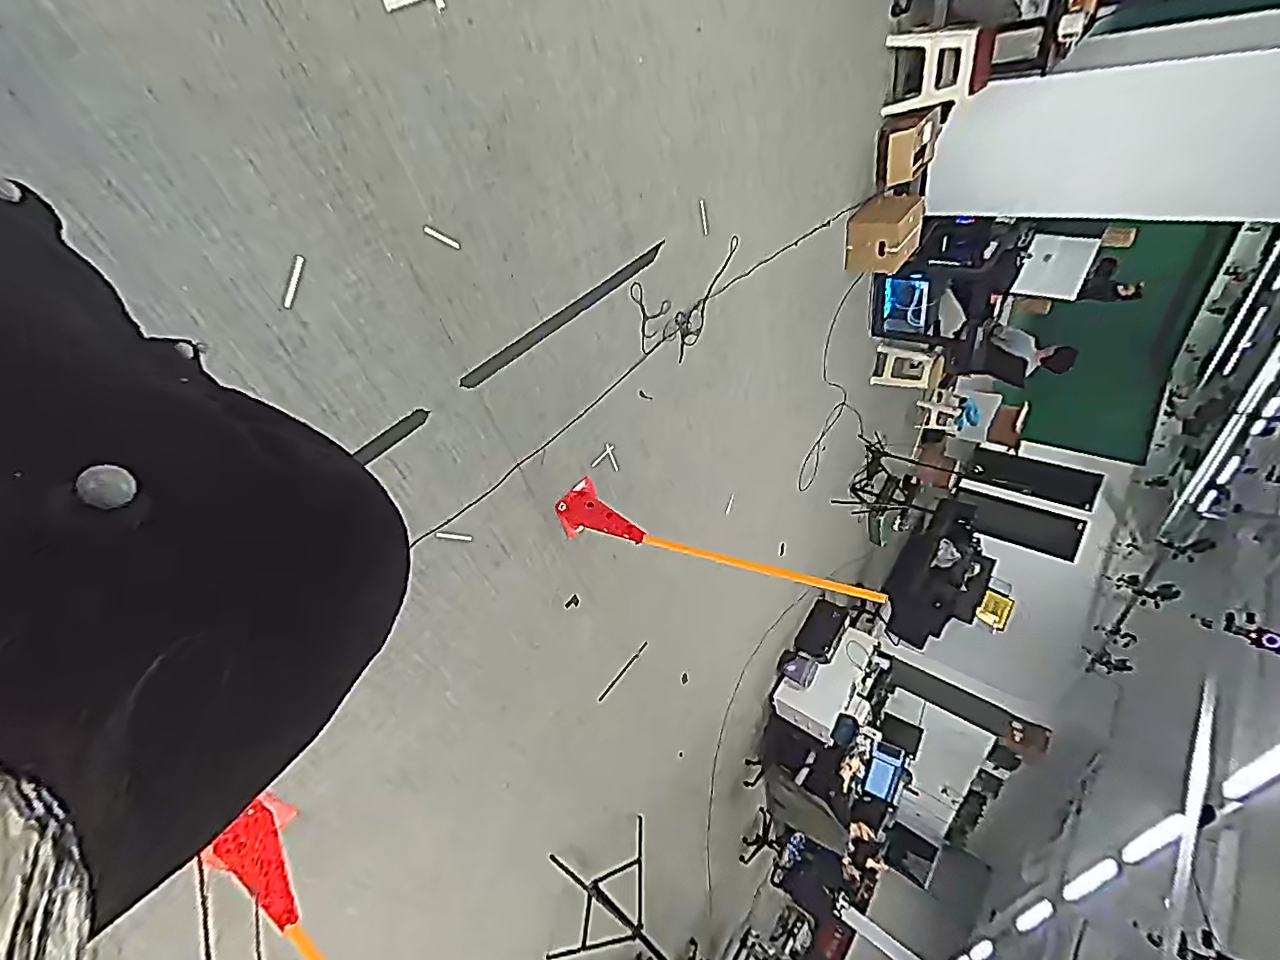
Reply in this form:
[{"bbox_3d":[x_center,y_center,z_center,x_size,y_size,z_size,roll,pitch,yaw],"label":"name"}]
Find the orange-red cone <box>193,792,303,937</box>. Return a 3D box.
[{"bbox_3d":[-0.973,1.046,1.420,0.199,0.360,0.198,-43,137,-30],"label":"orange-red cone"}]
